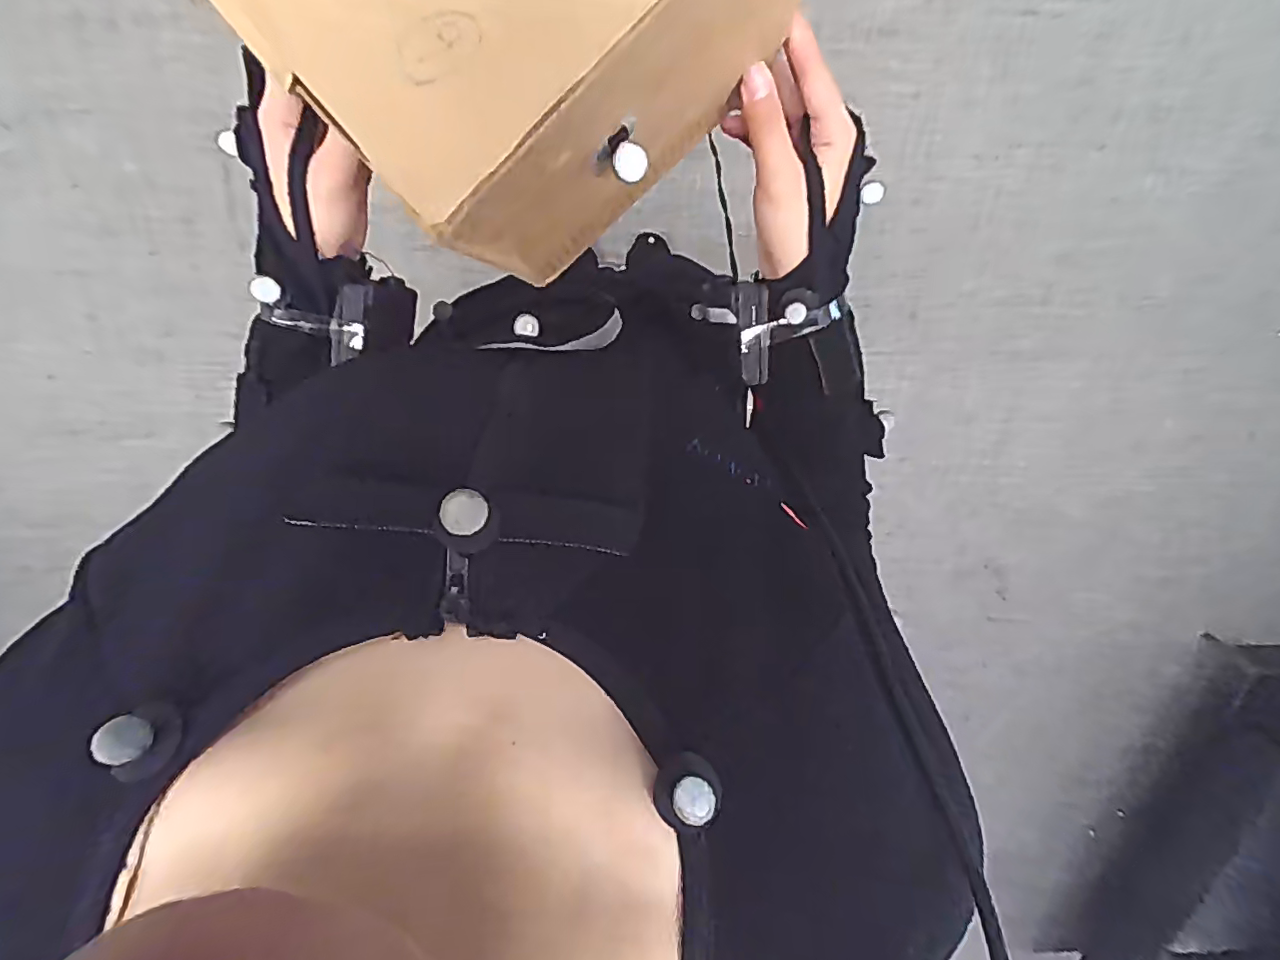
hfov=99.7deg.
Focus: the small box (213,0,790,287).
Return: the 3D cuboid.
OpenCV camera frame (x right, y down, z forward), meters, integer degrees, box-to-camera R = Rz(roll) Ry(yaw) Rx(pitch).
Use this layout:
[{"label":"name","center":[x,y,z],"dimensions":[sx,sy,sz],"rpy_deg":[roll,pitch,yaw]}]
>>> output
[{"label":"small box","center":[-0.047,-0.203,0.224],"dimensions":[0.179,0.176,0.168],"rpy_deg":[-39,99,11]}]
